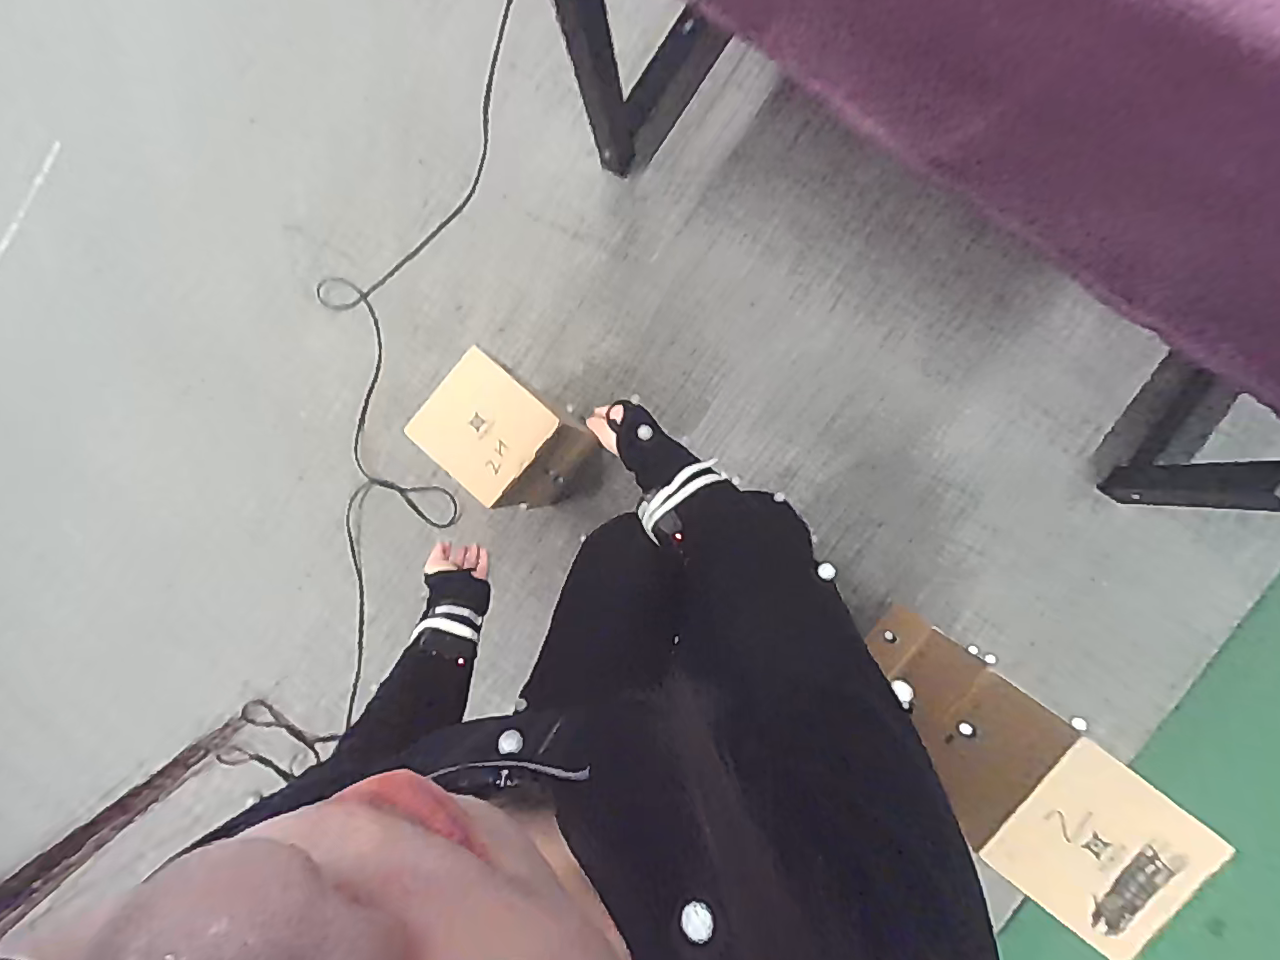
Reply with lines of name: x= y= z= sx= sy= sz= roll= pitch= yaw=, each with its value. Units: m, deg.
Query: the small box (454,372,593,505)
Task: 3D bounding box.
small box: x=-0.207 y=-0.072 z=1.019 sx=0.168 sy=0.176 sz=0.179 roll=38 pitch=93 yaw=3

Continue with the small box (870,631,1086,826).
small box: x=0.477 y=0.347 z=0.799 sx=0.179 sy=0.176 sz=0.168 roll=36 pitch=94 yaw=2

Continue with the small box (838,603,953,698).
small box: x=0.486 y=0.338 z=0.962 sx=0.179 sy=0.176 sz=0.168 roll=39 pitch=94 yaw=3
